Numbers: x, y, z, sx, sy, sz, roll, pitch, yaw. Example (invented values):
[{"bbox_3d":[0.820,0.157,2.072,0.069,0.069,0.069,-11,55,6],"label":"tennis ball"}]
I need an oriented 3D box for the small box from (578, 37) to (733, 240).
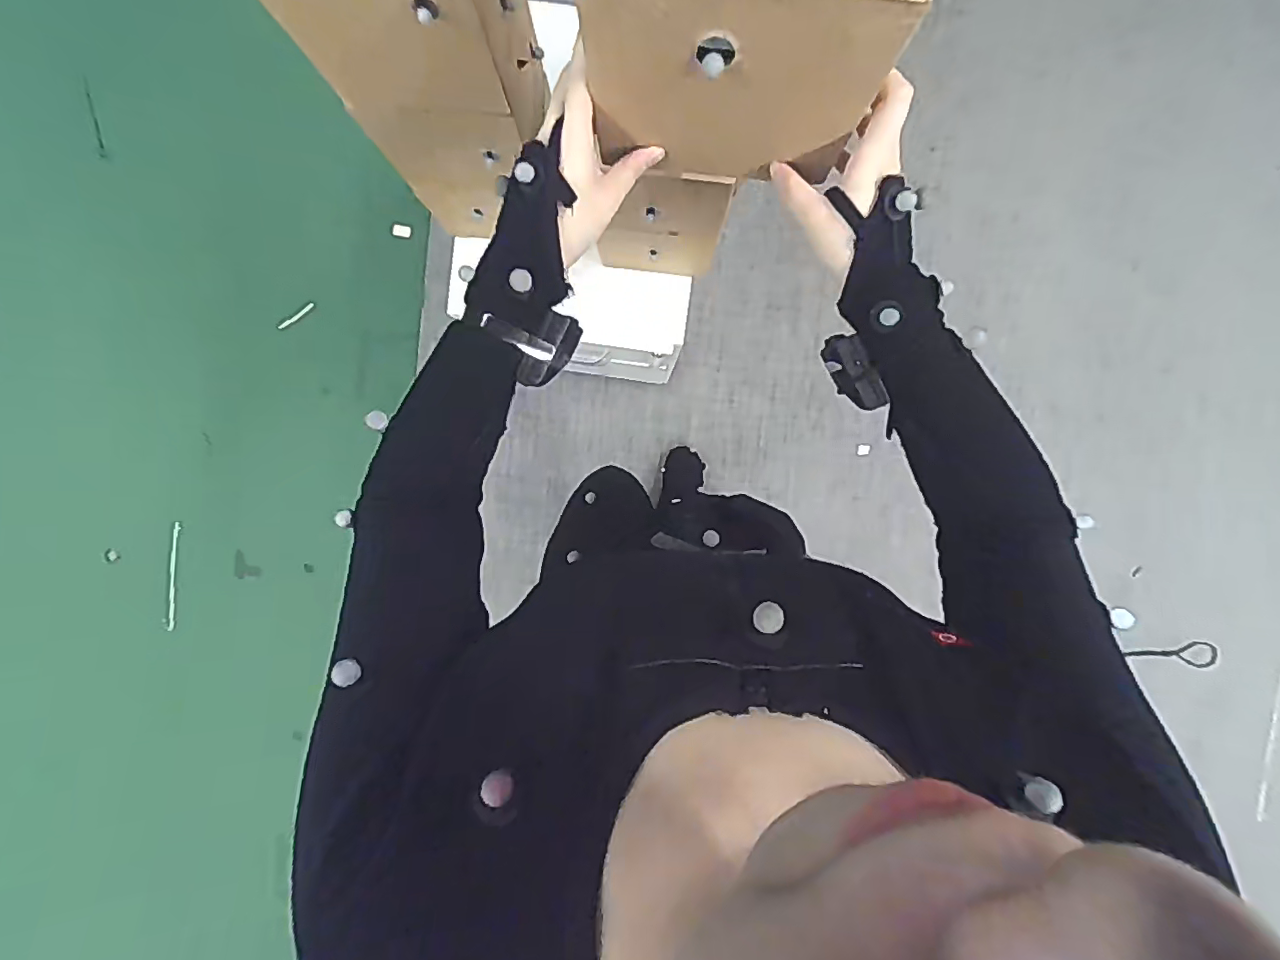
[{"bbox_3d":[0.028,-0.403,0.633,0.168,0.176,0.179,7,94,0],"label":"small box"}]

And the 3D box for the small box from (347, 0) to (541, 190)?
[{"bbox_3d":[-0.214,-0.462,0.632,0.179,0.176,0.168,2,93,-1],"label":"small box"}]

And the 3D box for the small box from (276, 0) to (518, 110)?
[{"bbox_3d":[-0.211,-0.456,0.469,0.179,0.176,0.168,2,93,-2],"label":"small box"}]

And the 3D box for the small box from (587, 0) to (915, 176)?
[{"bbox_3d":[0.062,-0.321,0.343,0.179,0.176,0.168,6,92,0],"label":"small box"}]
